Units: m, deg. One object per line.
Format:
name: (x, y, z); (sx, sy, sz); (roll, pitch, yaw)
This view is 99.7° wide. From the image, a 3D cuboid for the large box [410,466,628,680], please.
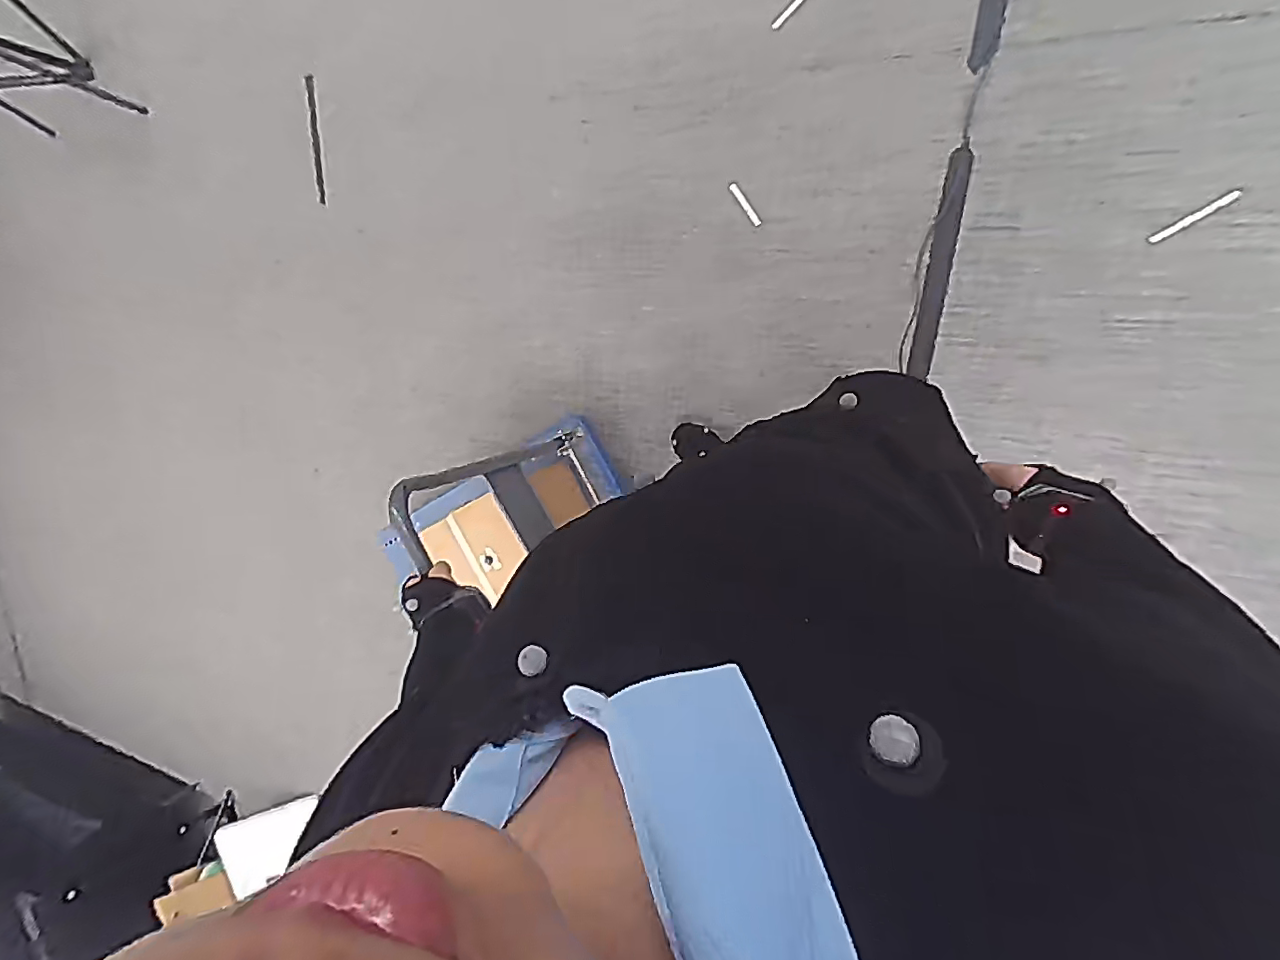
large box: (-0.292, 0.226, 1.389); (0.320, 0.320, 0.408); (-26, 92, 24)
